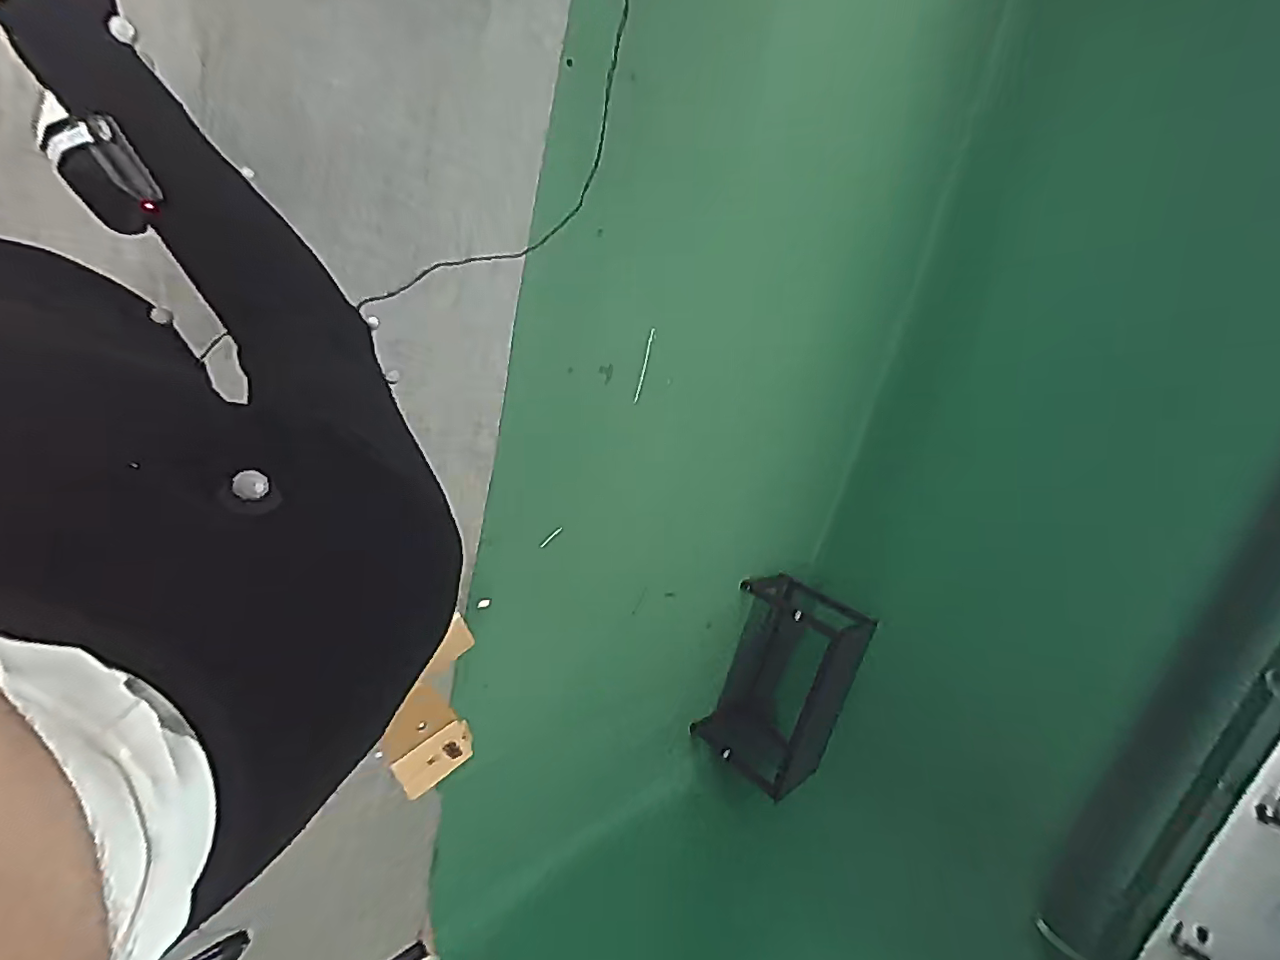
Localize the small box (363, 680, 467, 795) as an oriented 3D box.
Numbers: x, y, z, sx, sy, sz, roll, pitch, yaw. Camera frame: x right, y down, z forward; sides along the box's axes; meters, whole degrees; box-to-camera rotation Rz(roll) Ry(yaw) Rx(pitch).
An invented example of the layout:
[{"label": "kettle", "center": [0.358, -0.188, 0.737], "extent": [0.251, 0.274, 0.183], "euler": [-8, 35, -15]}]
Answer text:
[{"label": "small box", "center": [-0.589, 0.667, 1.420], "extent": [0.179, 0.176, 0.168], "euler": [-31, 131, -33]}]
